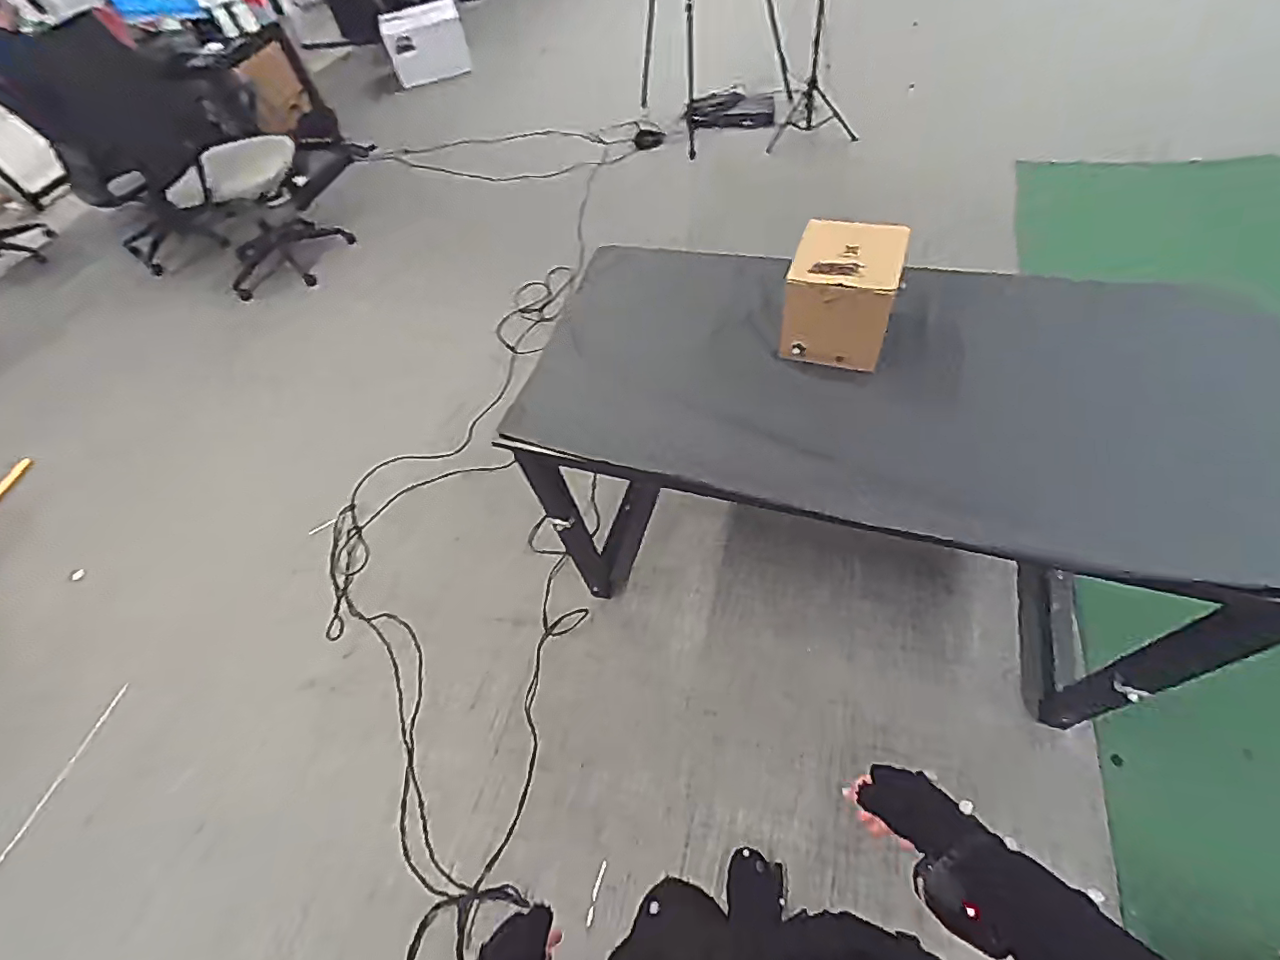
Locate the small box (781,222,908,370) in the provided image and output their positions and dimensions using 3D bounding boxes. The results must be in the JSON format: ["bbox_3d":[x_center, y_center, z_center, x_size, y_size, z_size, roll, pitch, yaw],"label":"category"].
[{"bbox_3d":[0.346,-0.315,0.937,0.168,0.176,0.179,14,59,18],"label":"small box"}]
